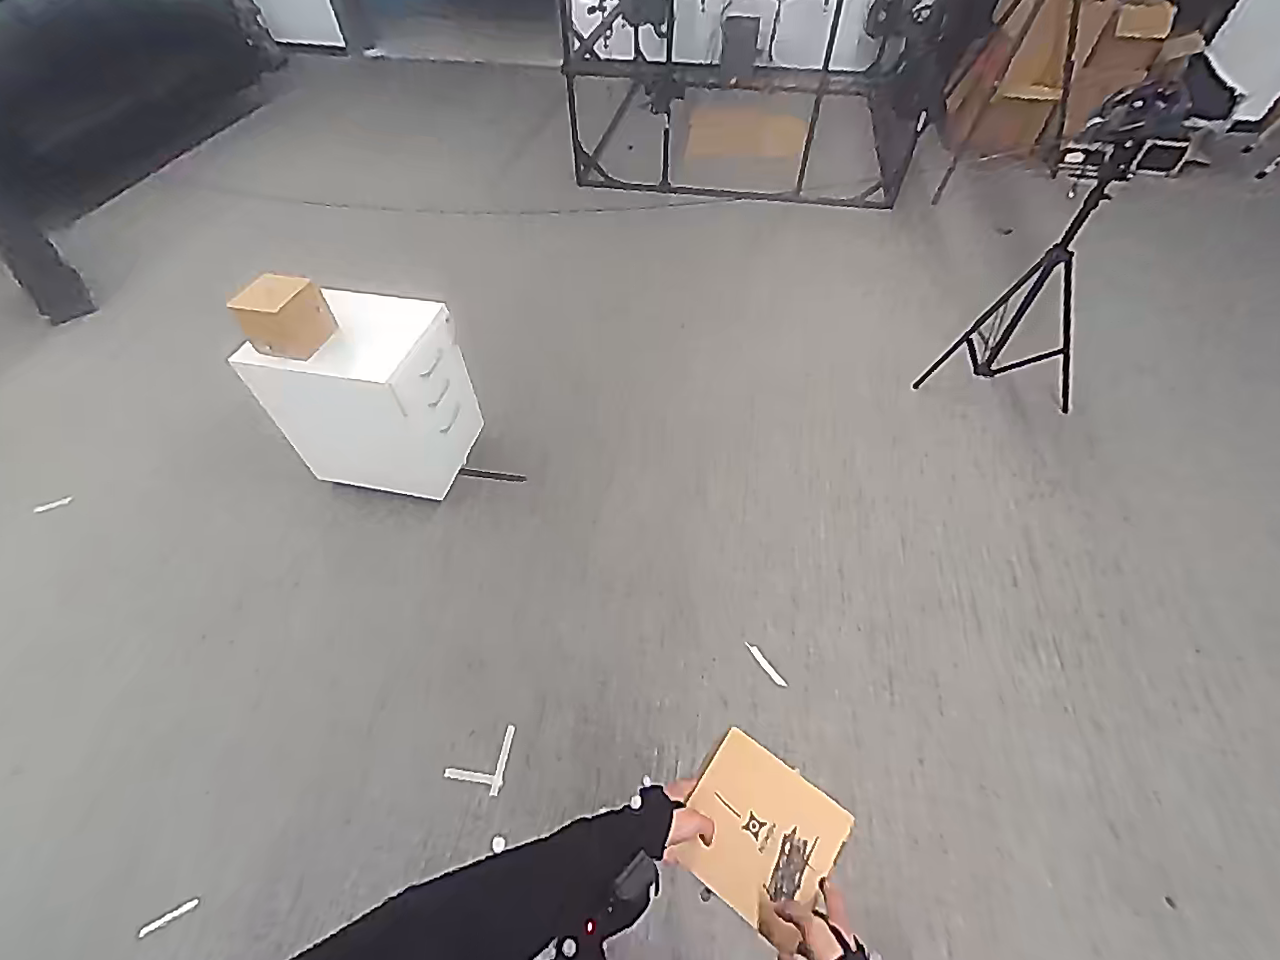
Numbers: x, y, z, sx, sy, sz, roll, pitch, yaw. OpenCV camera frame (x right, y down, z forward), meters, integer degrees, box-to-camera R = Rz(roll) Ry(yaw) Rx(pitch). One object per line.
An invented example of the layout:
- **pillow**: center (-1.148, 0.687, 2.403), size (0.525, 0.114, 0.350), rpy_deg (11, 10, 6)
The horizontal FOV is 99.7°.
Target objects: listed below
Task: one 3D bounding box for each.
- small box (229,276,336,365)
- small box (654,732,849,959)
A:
- **small box**: center (-1.021, -0.463, 1.570), size (0.168, 0.176, 0.179), rpy_deg (10, 51, 9)
- **small box**: center (0.134, 0.462, 0.707), size (0.179, 0.176, 0.168), rpy_deg (32, 63, 18)
